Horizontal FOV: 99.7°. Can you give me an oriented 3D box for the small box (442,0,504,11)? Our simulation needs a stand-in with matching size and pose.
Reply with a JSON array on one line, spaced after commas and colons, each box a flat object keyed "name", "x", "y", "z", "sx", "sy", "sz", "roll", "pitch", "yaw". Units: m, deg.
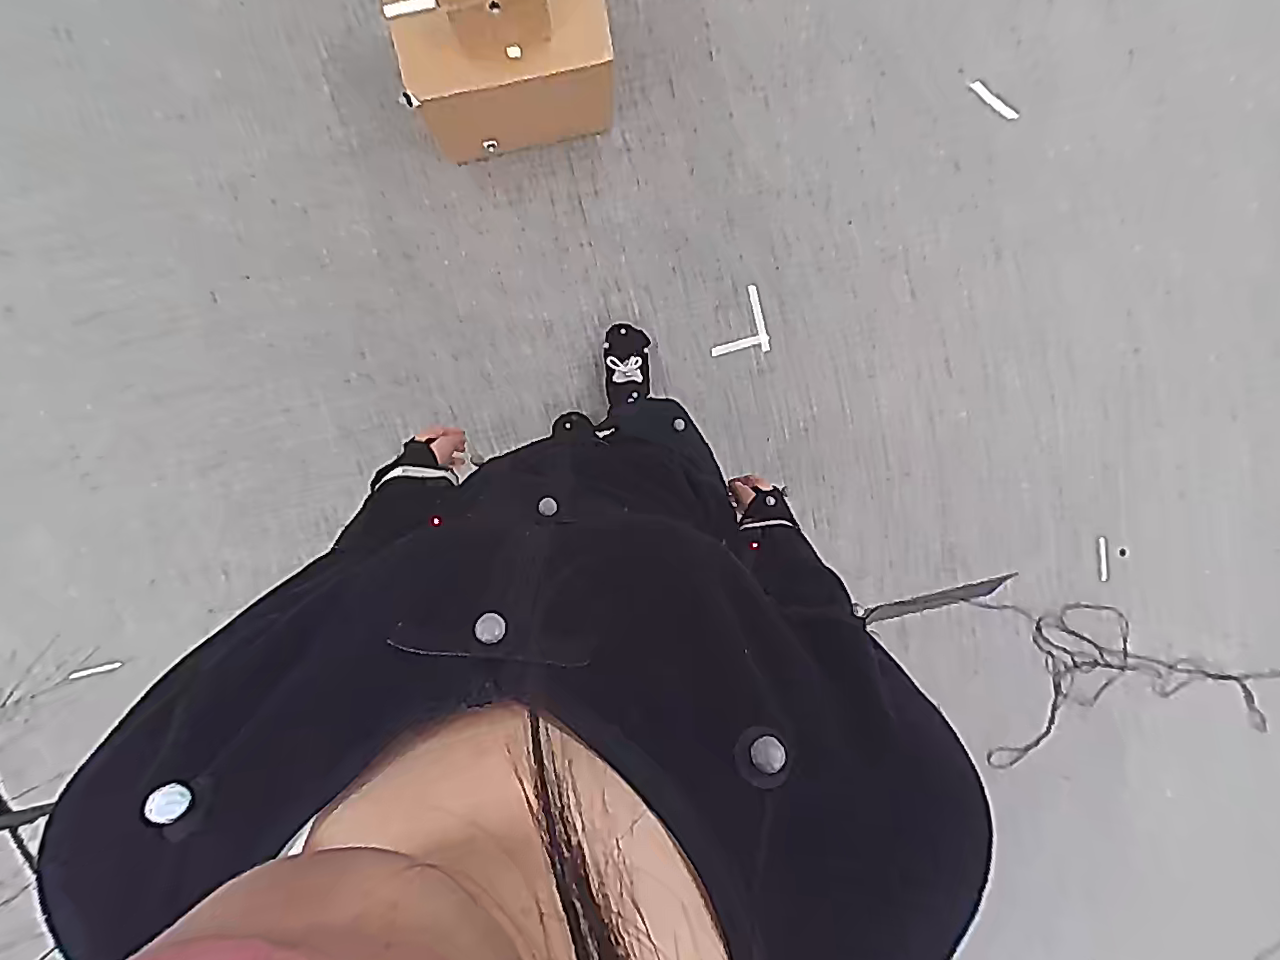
[{"name": "small box", "x": -0.250, "y": -0.831, "z": 0.769, "sx": 0.168, "sy": 0.176, "sz": 0.179, "roll": -14, "pitch": 103, "yaw": -1}]

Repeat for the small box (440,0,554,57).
[{"name": "small box", "x": -0.257, "y": -0.871, "z": 0.926, "sx": 0.179, "sy": 0.176, "sz": 0.168, "roll": -15, "pitch": 103, "yaw": -2}]
